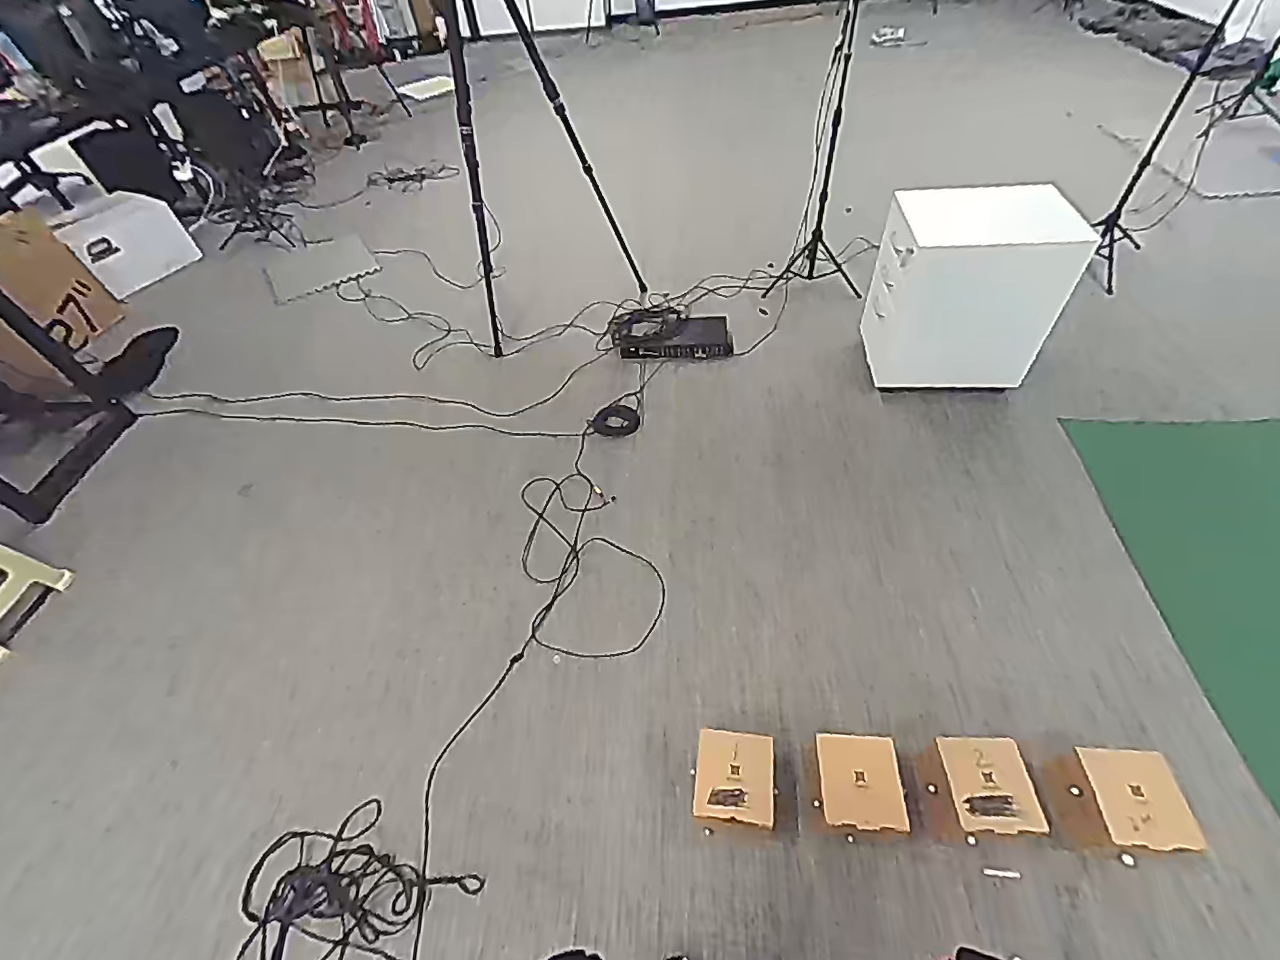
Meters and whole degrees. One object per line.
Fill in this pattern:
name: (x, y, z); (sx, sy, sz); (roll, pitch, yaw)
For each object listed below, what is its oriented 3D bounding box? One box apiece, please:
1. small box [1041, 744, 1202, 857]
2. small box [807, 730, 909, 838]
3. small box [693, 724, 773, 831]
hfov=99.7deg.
small box: (1.002, 0.681, 1.149); (0.168, 0.176, 0.179); (0, 51, 7)
small box: (0.475, 0.681, 1.211); (0.168, 0.176, 0.179); (0, 51, 7)
small box: (0.215, 0.684, 1.237); (0.168, 0.176, 0.179); (4, 50, 10)
